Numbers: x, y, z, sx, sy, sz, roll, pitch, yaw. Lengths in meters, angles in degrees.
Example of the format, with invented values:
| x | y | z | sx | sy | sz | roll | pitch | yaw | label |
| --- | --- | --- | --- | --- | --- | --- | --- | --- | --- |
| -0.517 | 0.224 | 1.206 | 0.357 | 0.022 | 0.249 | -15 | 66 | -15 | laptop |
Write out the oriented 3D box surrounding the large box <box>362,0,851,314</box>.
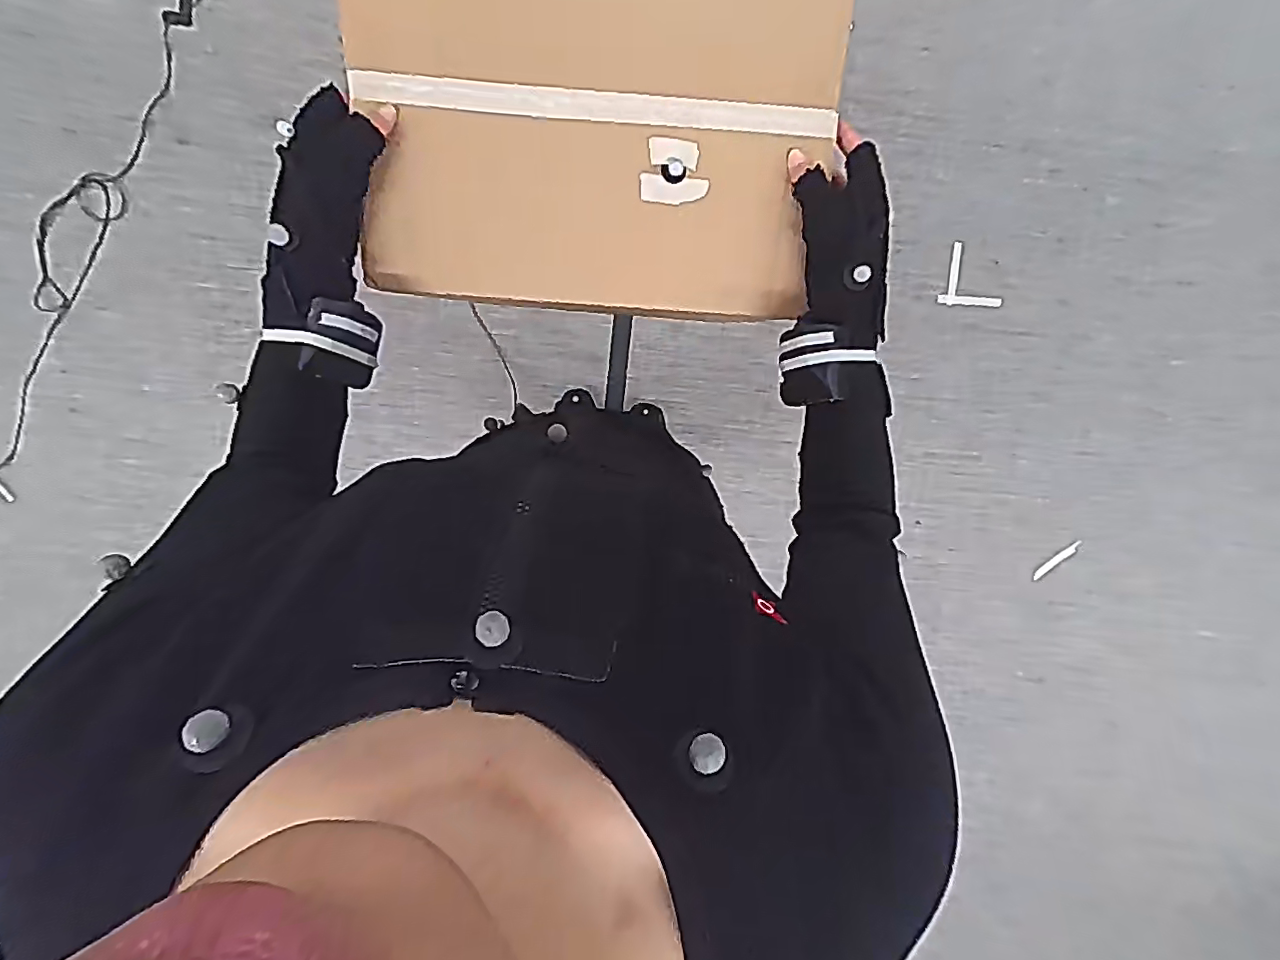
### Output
| x | y | z | sx | sy | sz | roll | pitch | yaw | label |
| --- | --- | --- | --- | --- | --- | --- | --- | --- | --- |
| -0.036 | -0.356 | 0.599 | 0.408 | 0.320 | 0.320 | 3 | 106 | -3 | large box |
